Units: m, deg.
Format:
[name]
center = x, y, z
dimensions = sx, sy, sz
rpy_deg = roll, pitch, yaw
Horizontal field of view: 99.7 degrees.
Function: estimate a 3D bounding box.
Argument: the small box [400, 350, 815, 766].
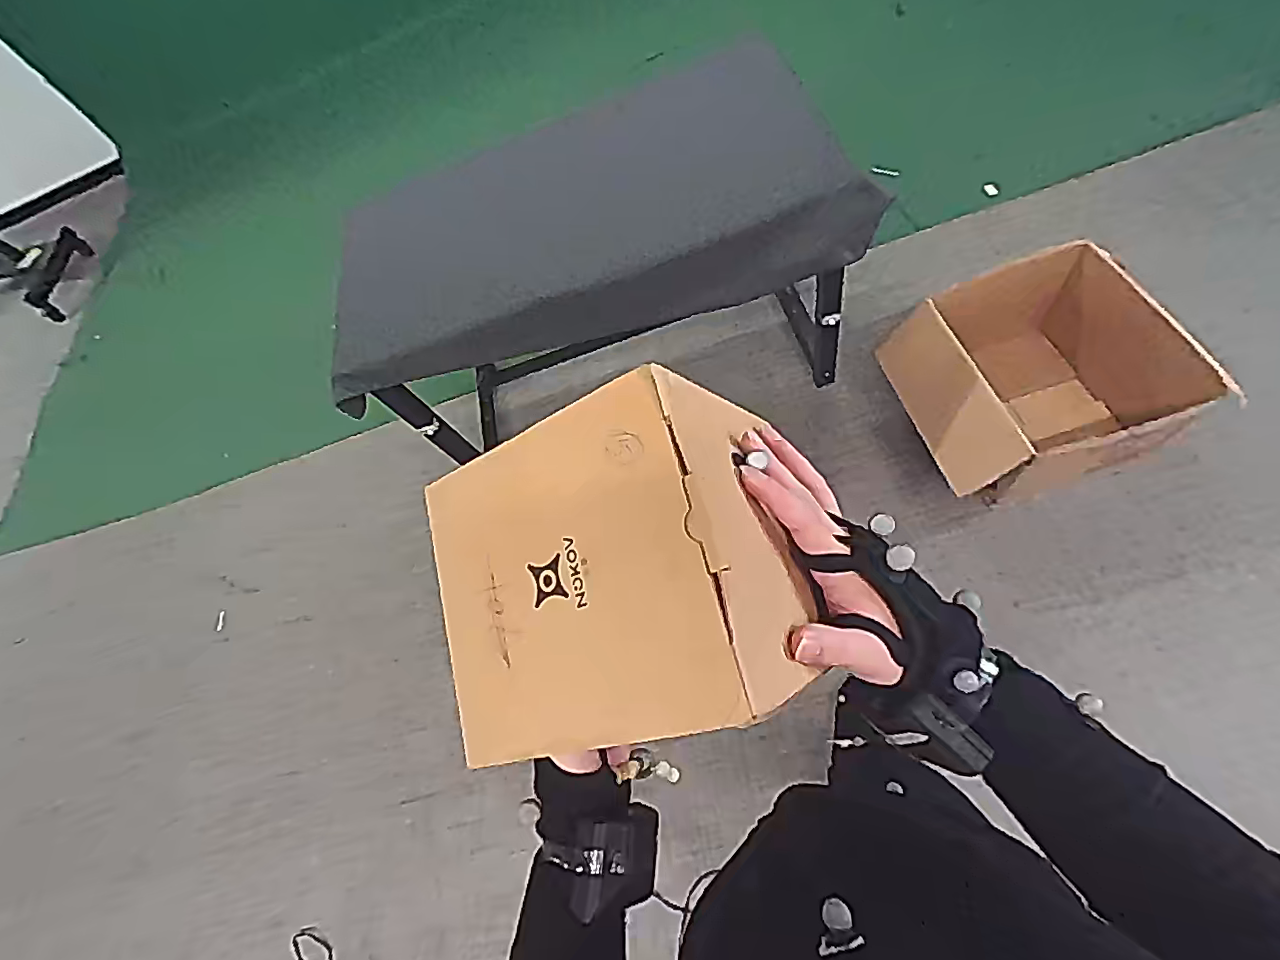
[small box]
center = -0.010, 0.051, 0.328
dimensions = 0.179, 0.176, 0.168
rpy_deg = -24, 72, 29
